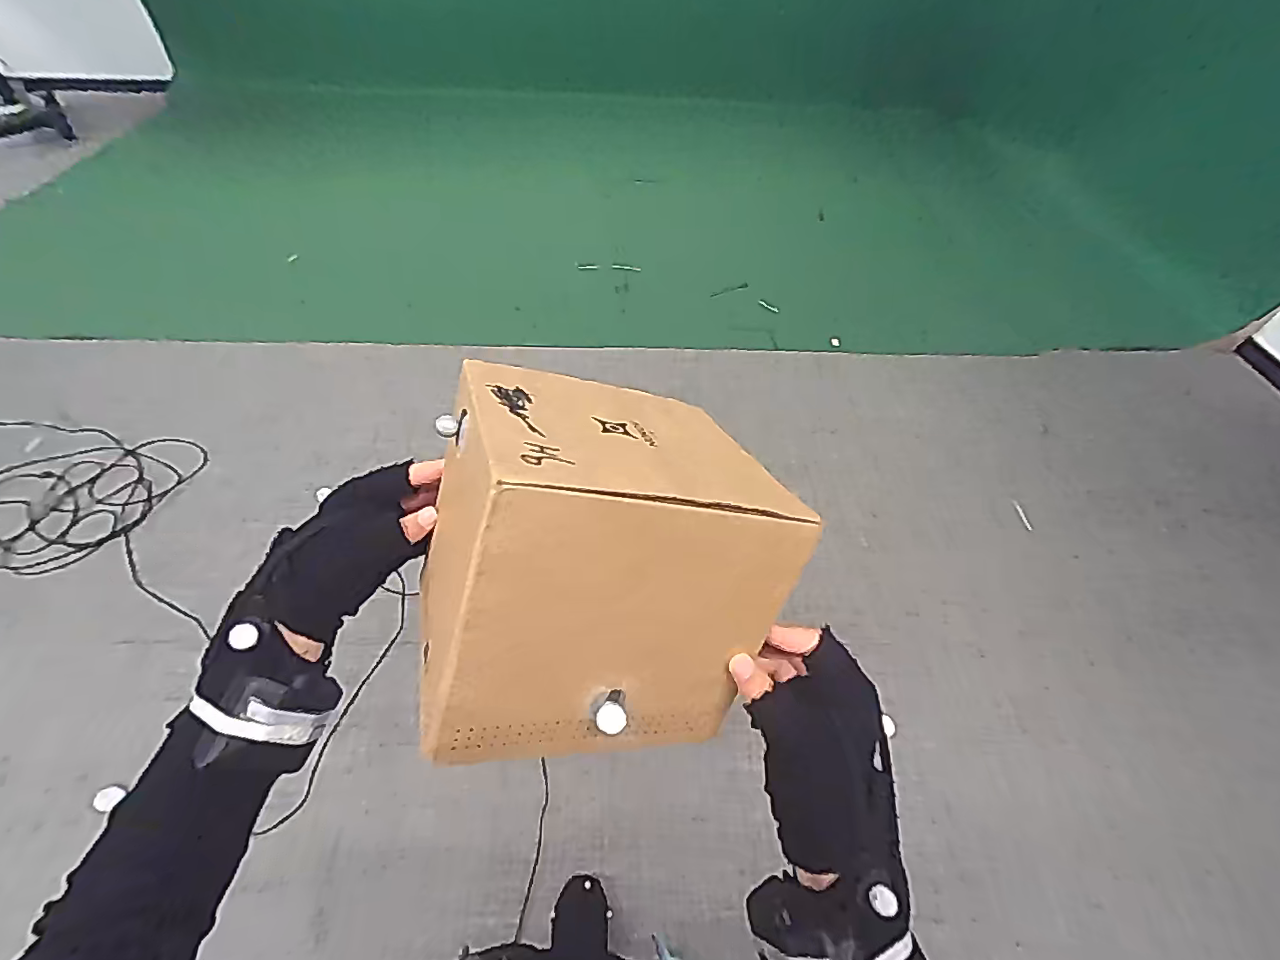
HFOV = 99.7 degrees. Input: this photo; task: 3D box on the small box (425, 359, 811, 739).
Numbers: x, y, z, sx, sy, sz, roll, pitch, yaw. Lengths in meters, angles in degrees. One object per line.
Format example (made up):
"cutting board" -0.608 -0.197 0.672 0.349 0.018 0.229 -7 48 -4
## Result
"small box" -0.032 0.042 0.353 0.179 0.176 0.168 9 25 -25
